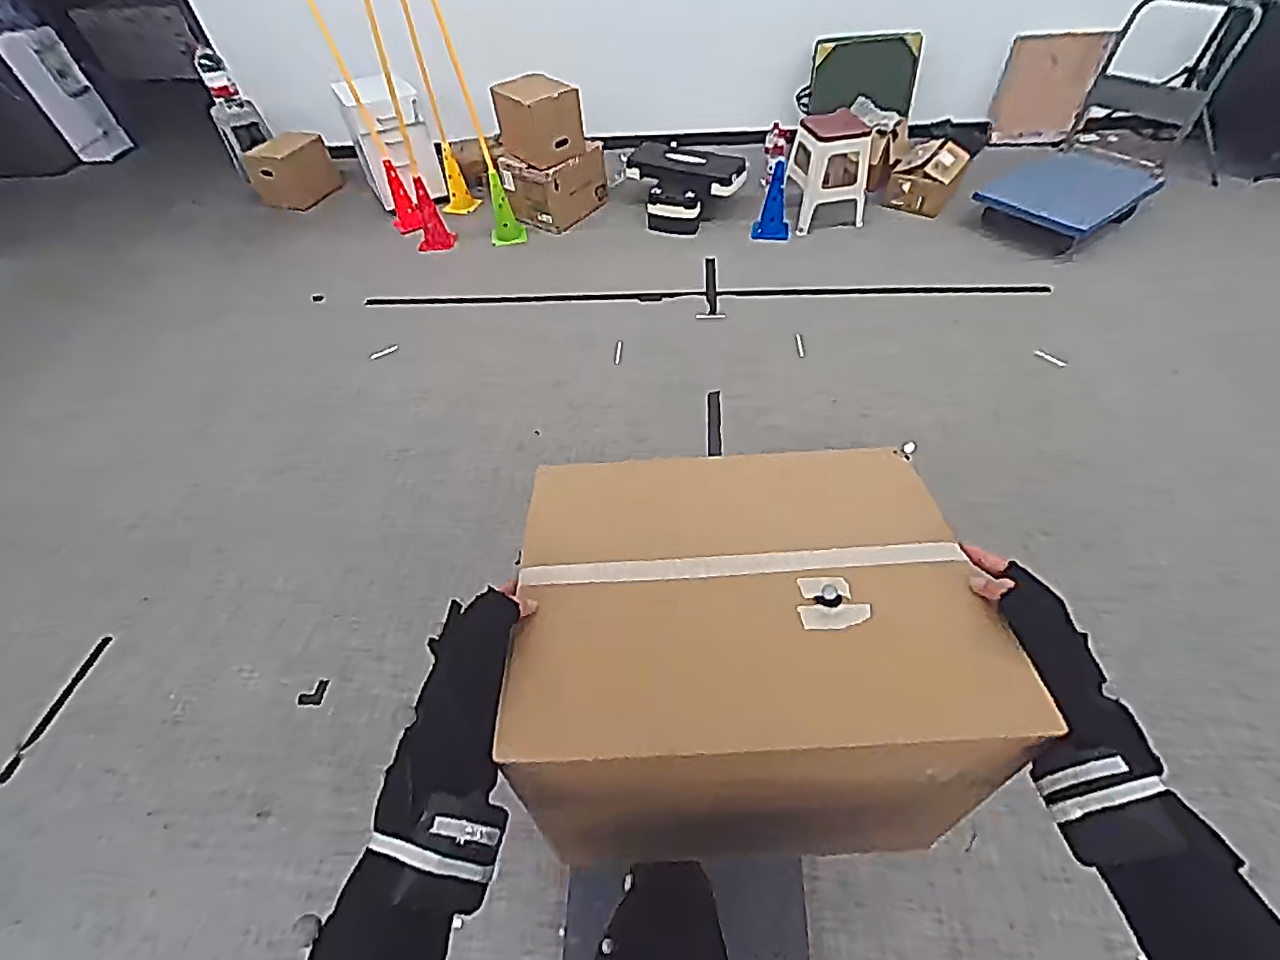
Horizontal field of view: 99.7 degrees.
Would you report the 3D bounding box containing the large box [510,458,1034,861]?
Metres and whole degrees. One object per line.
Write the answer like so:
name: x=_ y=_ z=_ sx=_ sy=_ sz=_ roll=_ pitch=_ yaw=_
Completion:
large box: x=0.098 y=0.199 z=0.610 sx=0.408 sy=0.320 sz=0.320 roll=-3 pitch=43 yaw=1
